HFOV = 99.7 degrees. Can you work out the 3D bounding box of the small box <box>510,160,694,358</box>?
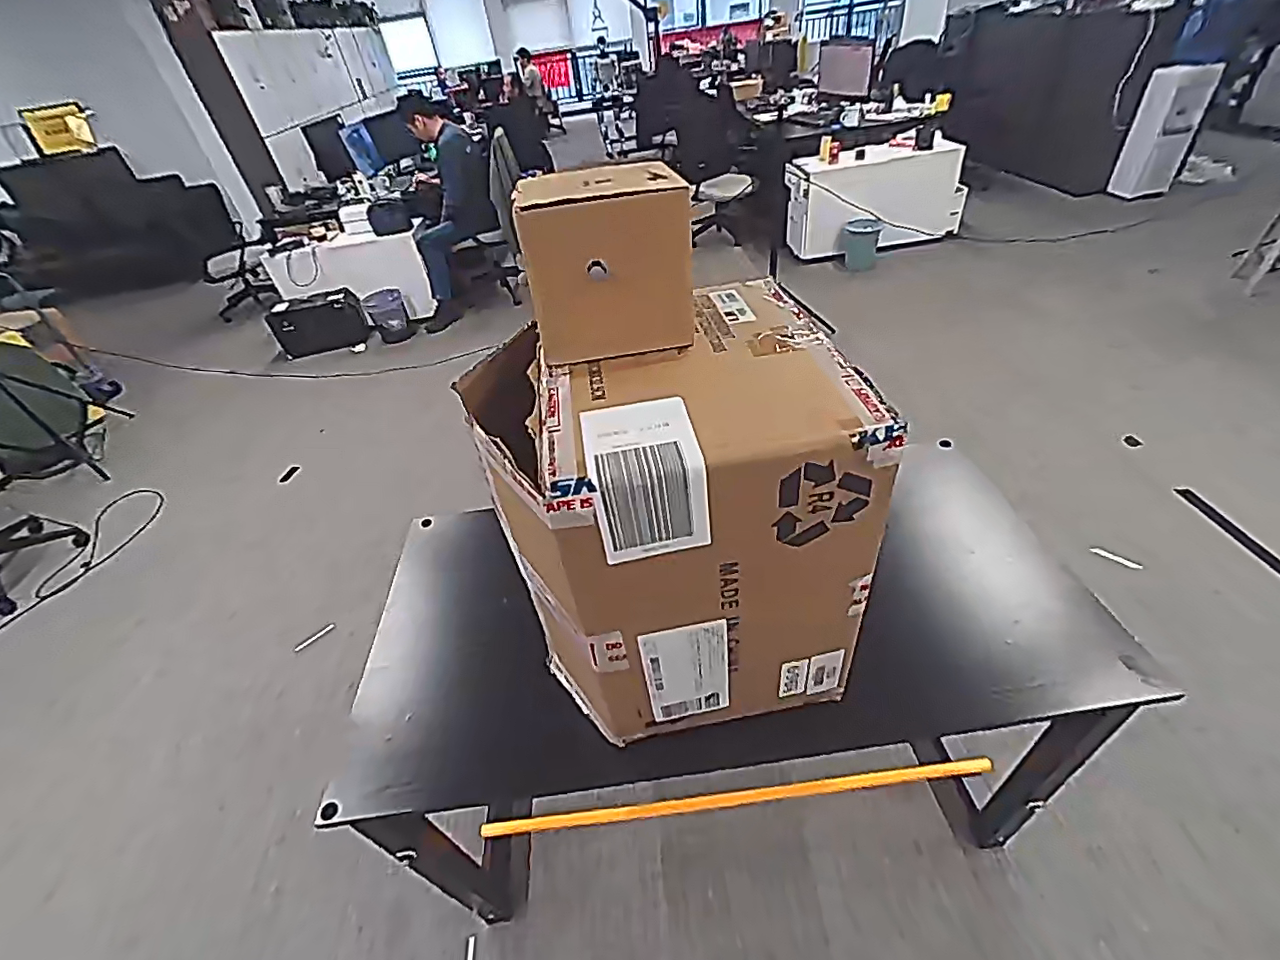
[{"bbox_3d":[-0.041,-0.256,0.630,0.179,0.176,0.168,-10,38,-3],"label":"small box"}]
